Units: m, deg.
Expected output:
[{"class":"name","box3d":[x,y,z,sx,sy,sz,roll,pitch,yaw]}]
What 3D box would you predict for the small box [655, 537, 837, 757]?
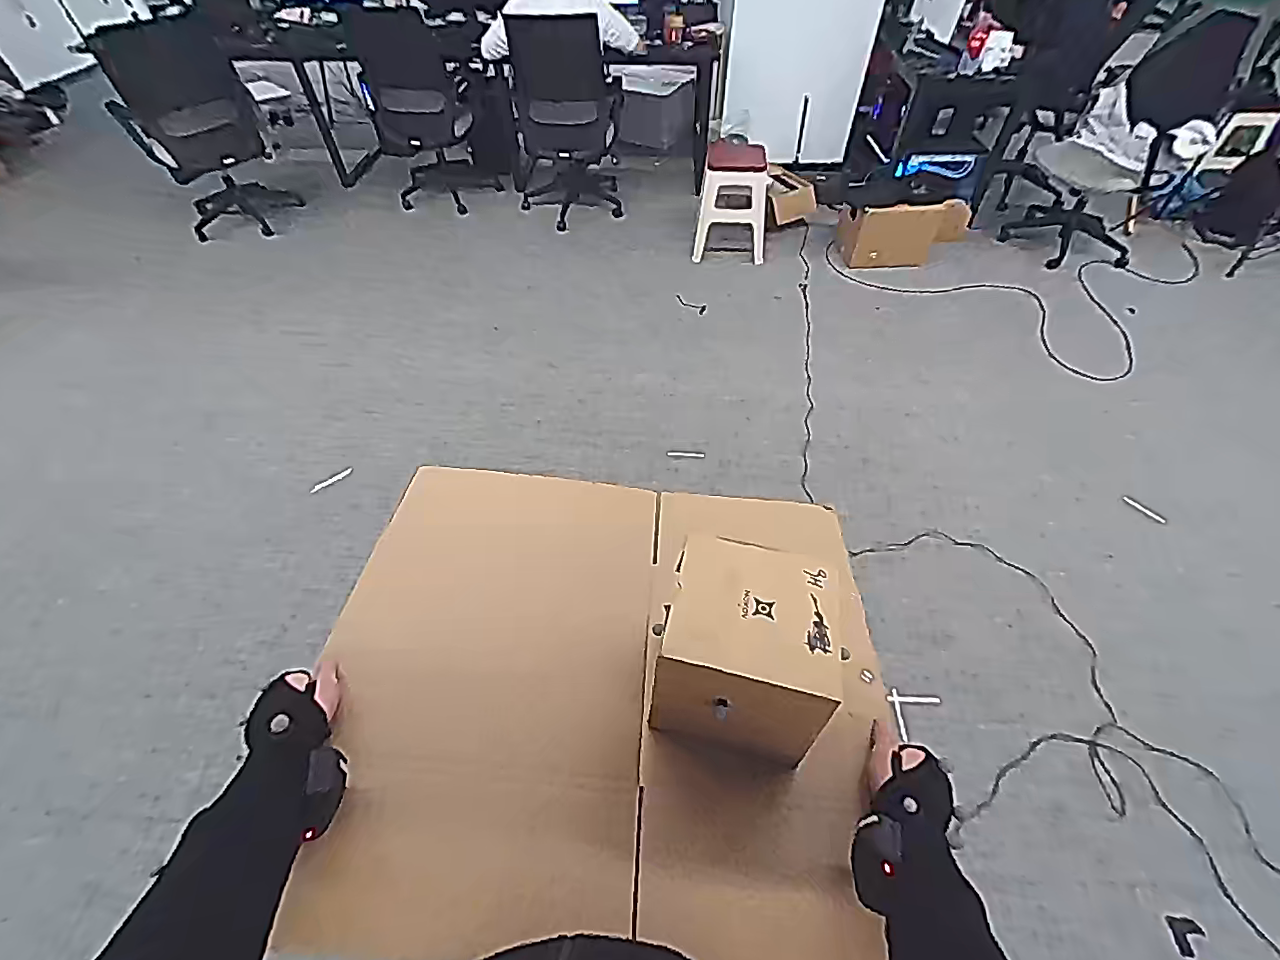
[{"class":"small box","box3d":[0.117,0.194,0.628,0.179,0.176,0.168,11,44,9]}]
